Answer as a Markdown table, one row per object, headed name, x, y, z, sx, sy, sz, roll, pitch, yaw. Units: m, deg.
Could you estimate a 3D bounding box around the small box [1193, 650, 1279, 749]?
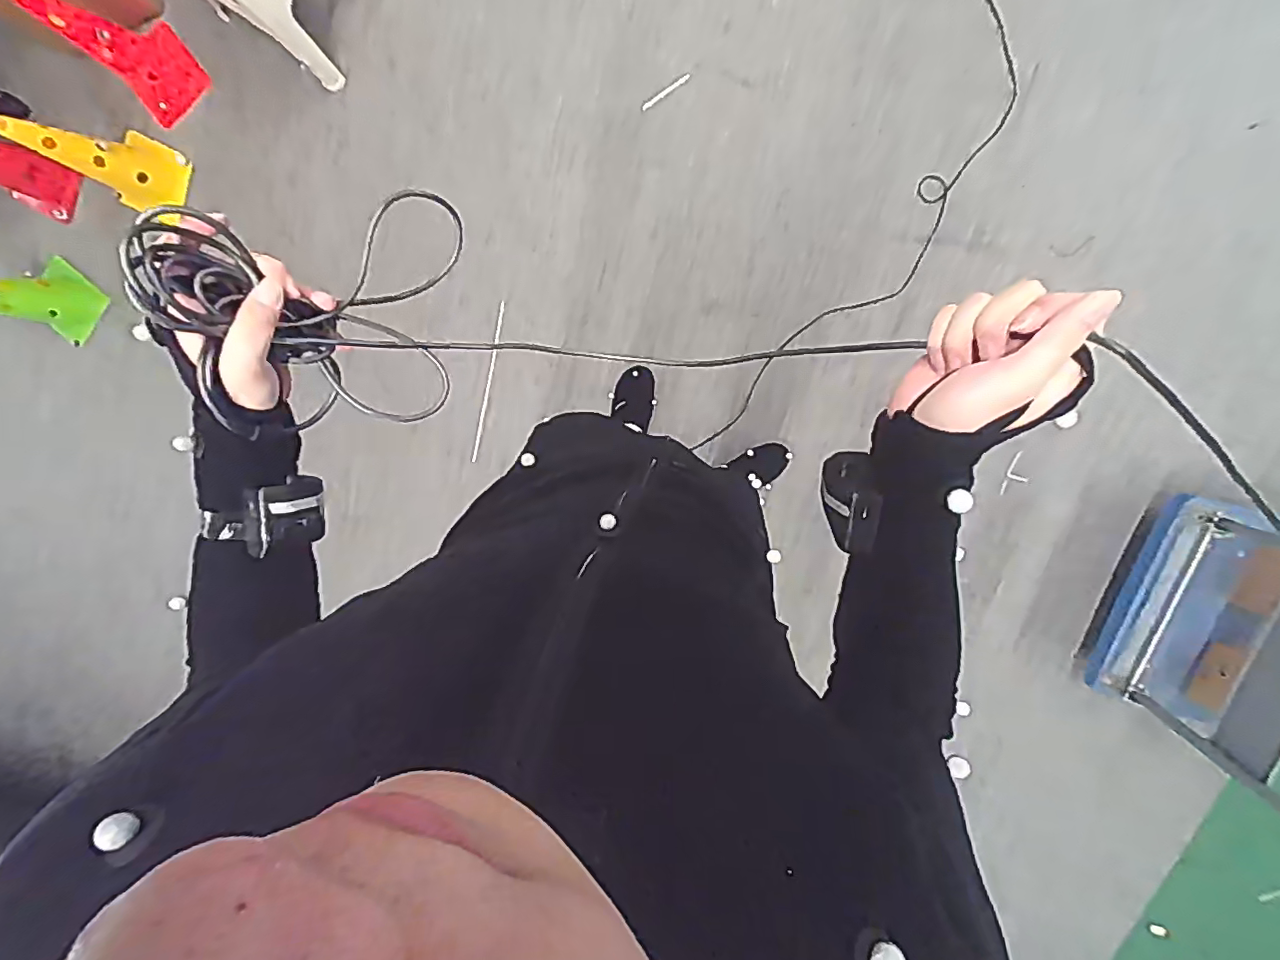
| name | x | y | z | sx | sy | sz | roll | pitch | yaw |
| --- | --- | --- | --- | --- | --- | --- | --- | --- | --- |
| small box | 1.550 | 0.543 | 1.327 | 0.179 | 0.176 | 0.168 | 16 | 102 | 3 |
